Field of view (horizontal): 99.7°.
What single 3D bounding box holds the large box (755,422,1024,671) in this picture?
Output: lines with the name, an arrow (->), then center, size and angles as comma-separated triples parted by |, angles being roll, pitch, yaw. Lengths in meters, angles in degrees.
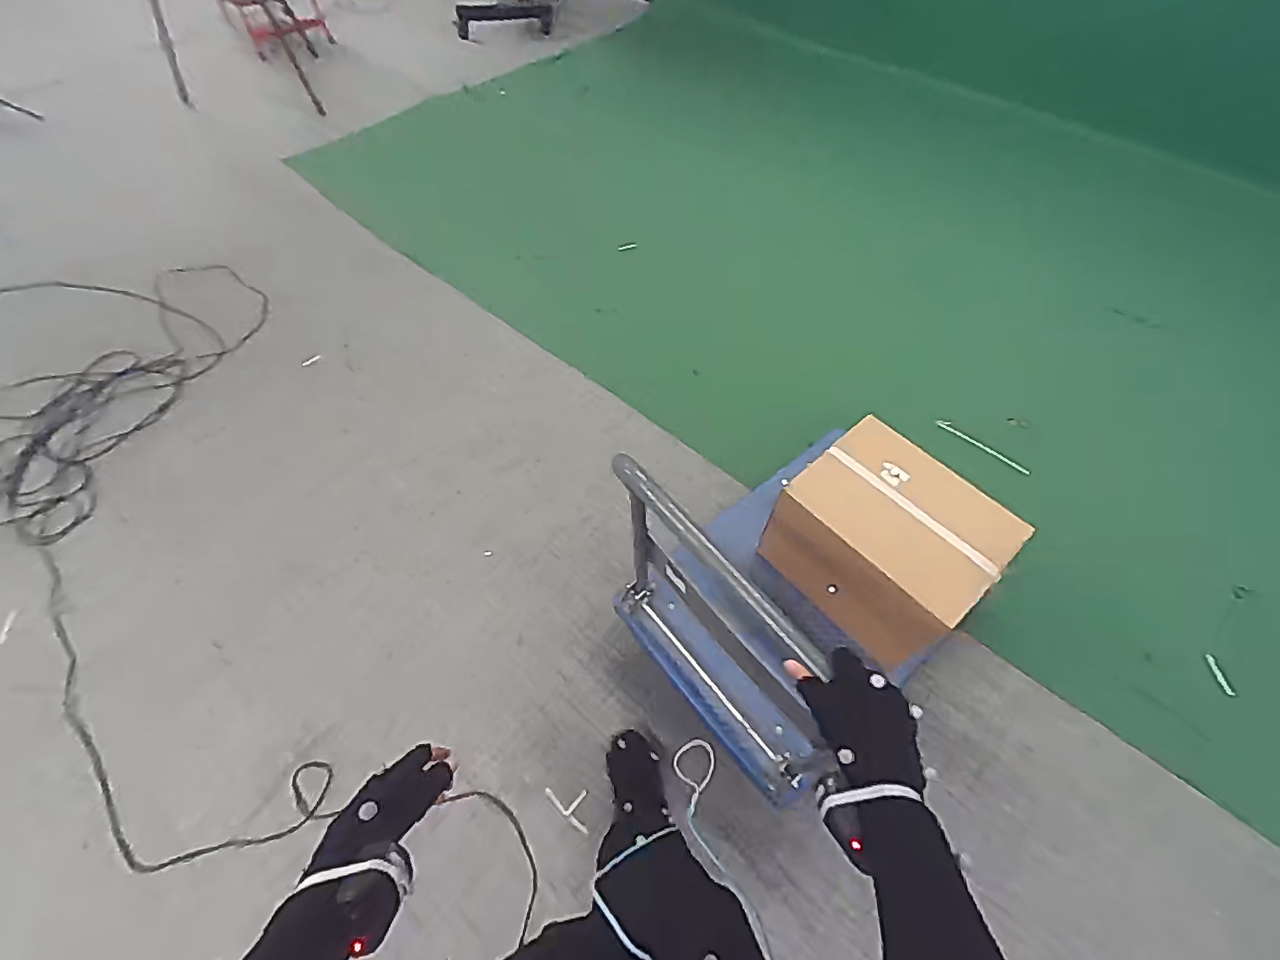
large box -> 0.532, 0.152, 1.235 | 0.320, 0.320, 0.408 | -35, 62, -21
